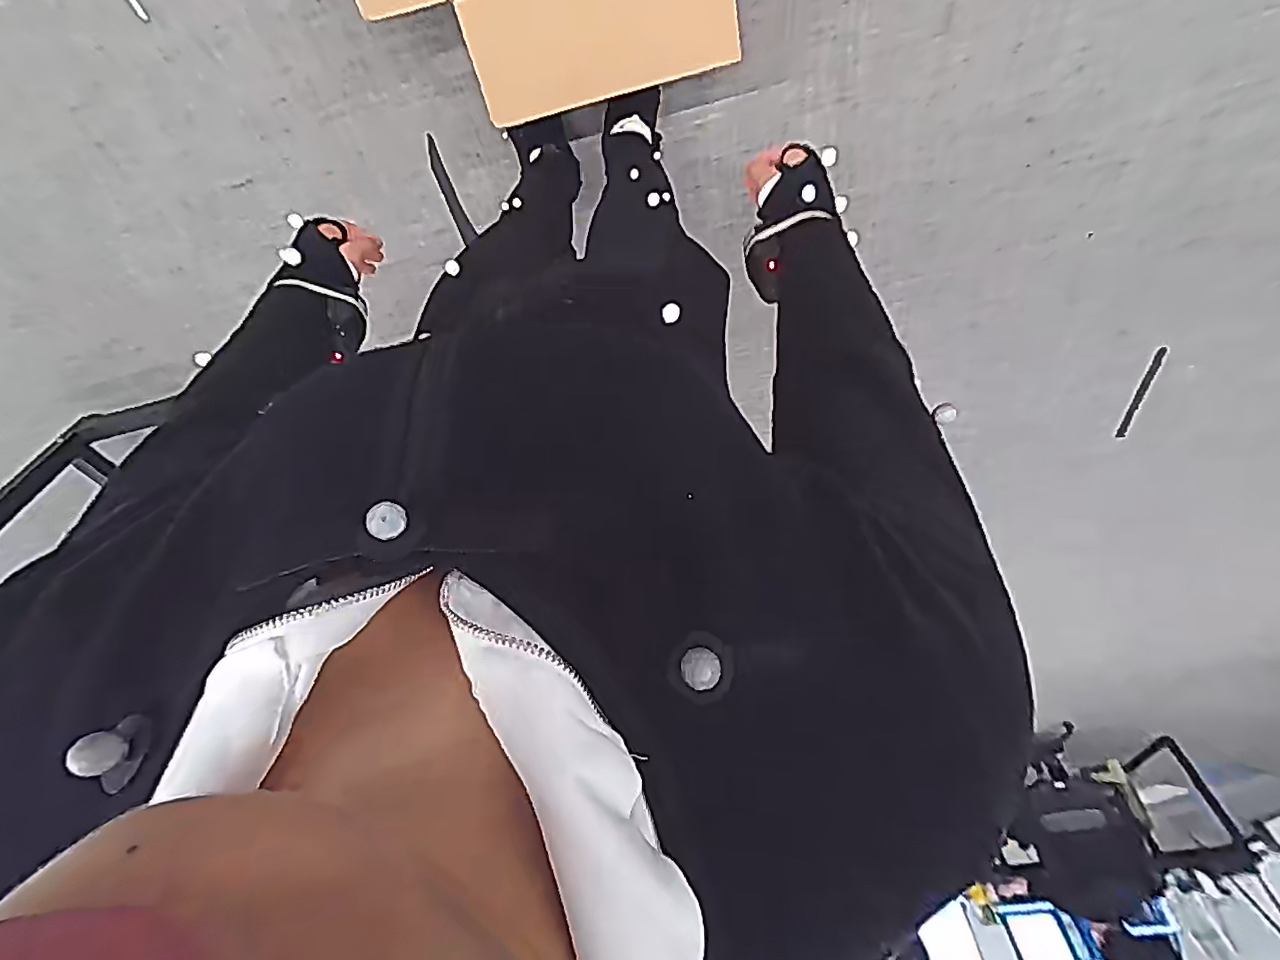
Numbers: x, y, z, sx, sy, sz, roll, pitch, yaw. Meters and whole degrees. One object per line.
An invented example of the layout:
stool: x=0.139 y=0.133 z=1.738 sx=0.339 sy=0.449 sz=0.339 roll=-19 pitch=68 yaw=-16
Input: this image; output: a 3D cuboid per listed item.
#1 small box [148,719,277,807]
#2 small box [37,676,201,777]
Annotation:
small box: x=-1.126 y=0.747 z=1.440 sx=0.168 sy=0.176 sz=0.179 roll=-10 pitch=136 yaw=8
small box: x=-1.188 y=0.565 z=1.251 sx=0.168 sy=0.176 sz=0.179 roll=-10 pitch=135 yaw=9
